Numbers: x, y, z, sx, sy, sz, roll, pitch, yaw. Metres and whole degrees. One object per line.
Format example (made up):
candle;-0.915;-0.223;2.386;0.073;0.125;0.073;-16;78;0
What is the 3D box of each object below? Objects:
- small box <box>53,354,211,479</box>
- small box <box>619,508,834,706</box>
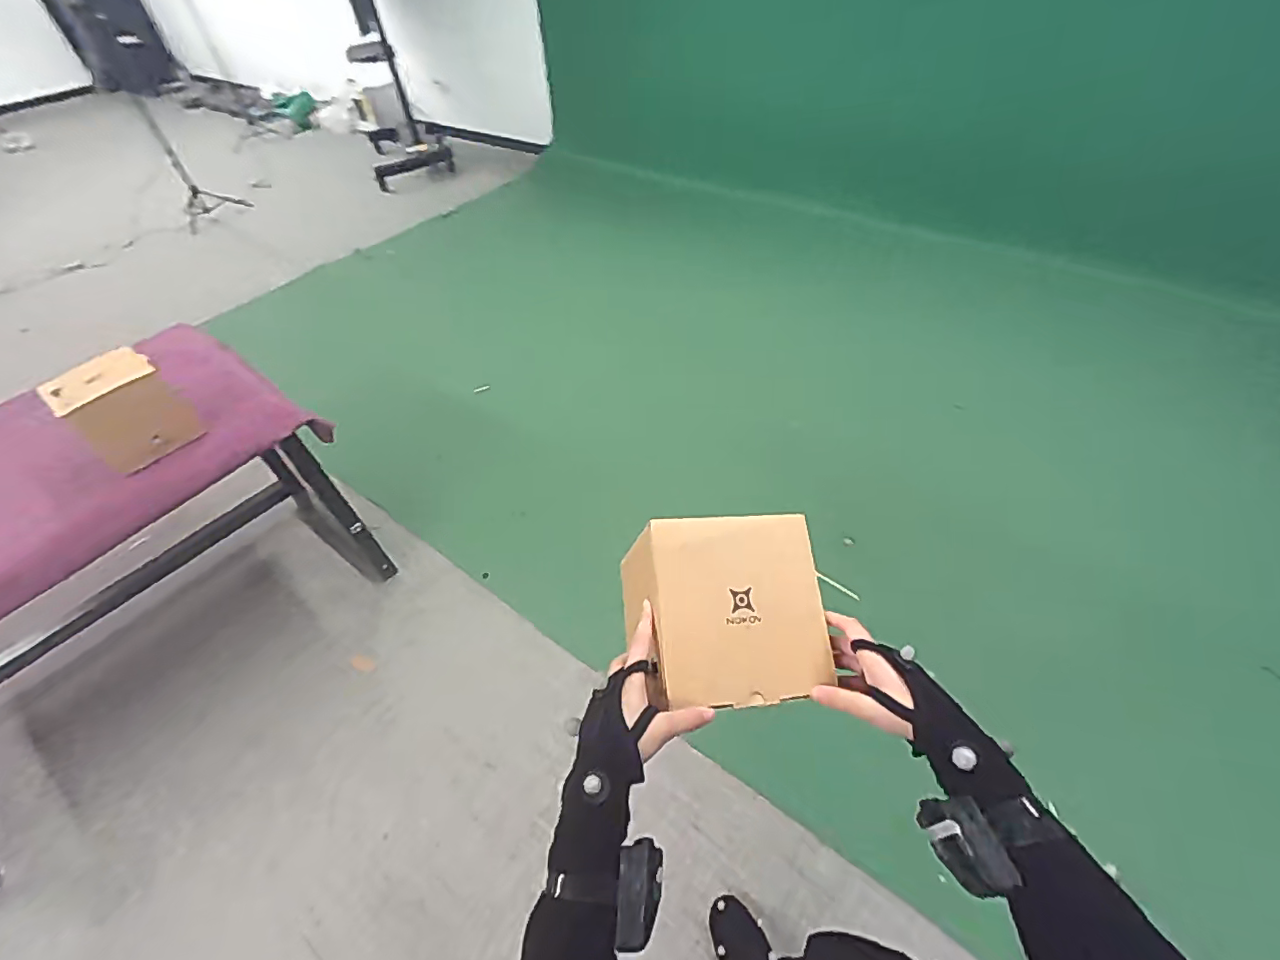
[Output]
small box;-1.073;-0.137;1.161;0.168;0.176;0.179;28;56;30
small box;0.074;0.140;0.578;0.168;0.176;0.179;-2;69;-12
